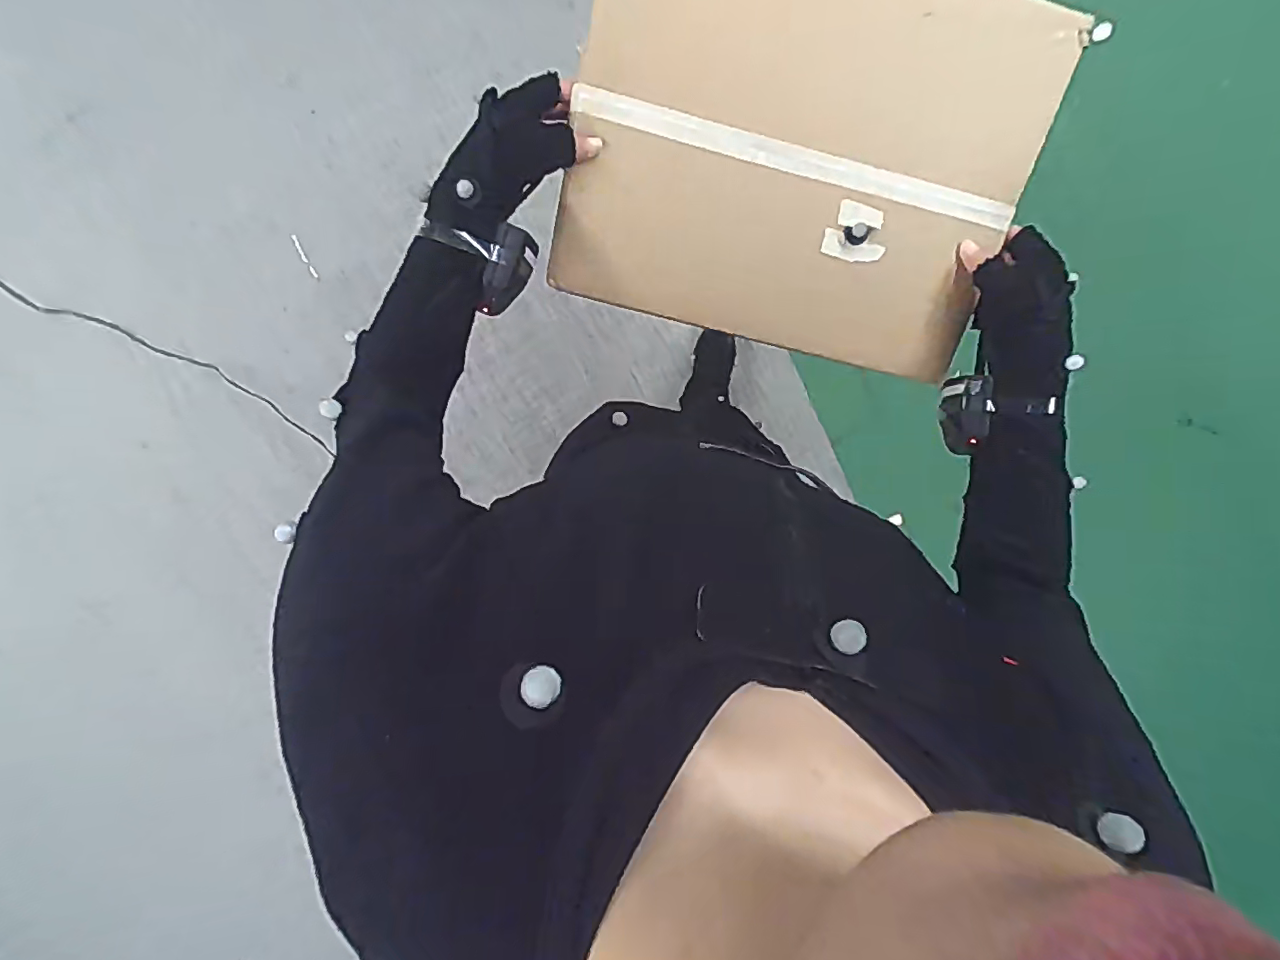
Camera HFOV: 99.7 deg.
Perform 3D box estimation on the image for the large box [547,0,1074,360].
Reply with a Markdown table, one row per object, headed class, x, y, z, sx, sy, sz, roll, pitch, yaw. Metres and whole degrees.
| class | x | y | z | sx | sy | sz | roll | pitch | yaw |
| --- | --- | --- | --- | --- | --- | --- | --- | --- | --- |
| large box | 0.130 | -0.343 | 0.614 | 0.408 | 0.320 | 0.320 | 12 | 109 | -6 |
